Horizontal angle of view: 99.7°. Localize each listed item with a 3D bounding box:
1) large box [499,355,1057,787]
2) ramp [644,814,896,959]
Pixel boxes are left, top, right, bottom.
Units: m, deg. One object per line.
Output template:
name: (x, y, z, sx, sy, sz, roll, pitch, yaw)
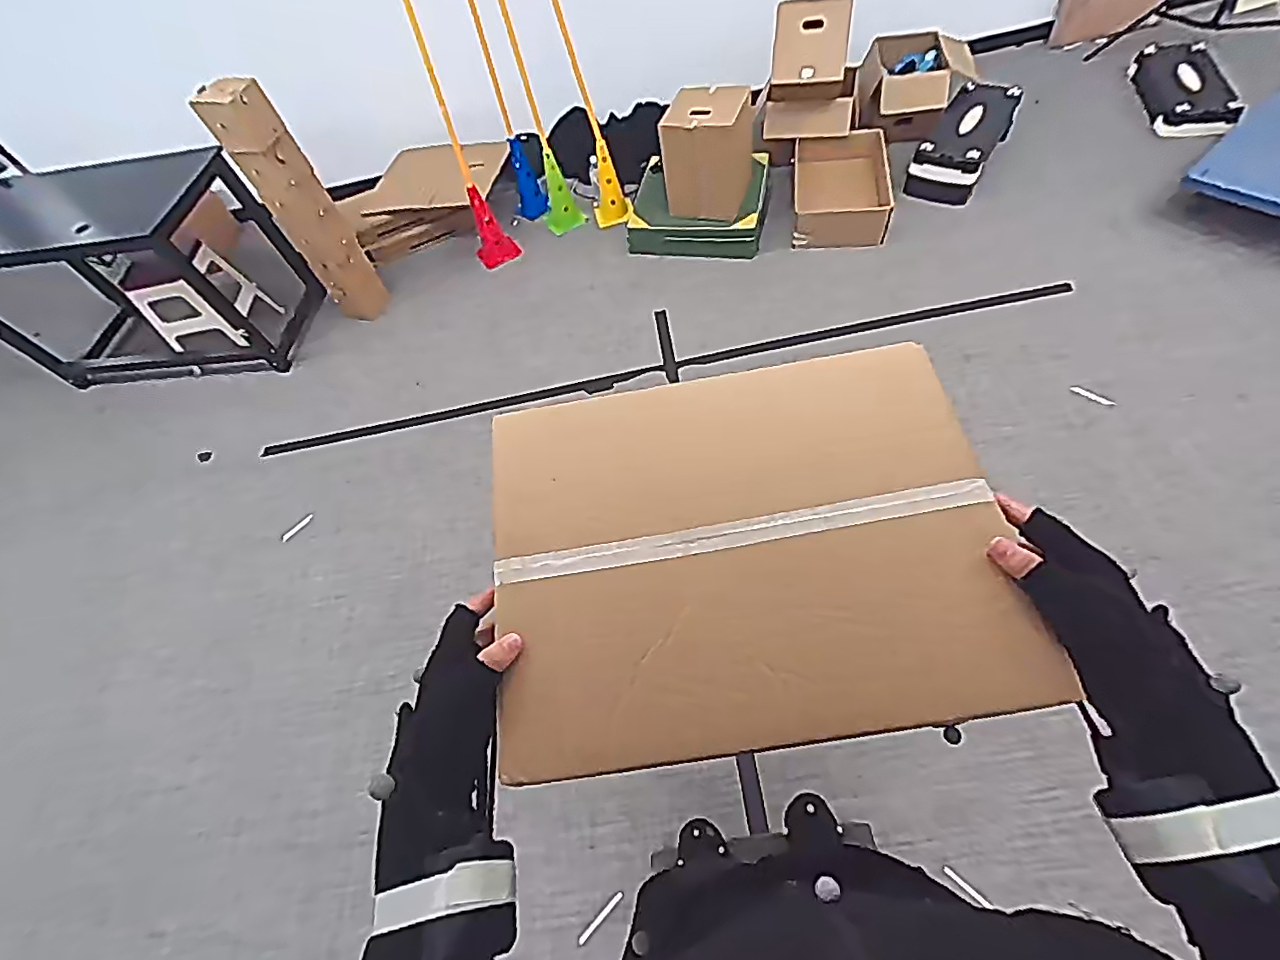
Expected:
large box: (0.097, 0.113, 0.583, 0.408, 0.320, 0.320, -9, 63, 2)
ramp: (0.319, 1.236, 1.026, 0.509, 0.206, 0.991, -11, 58, 1)
